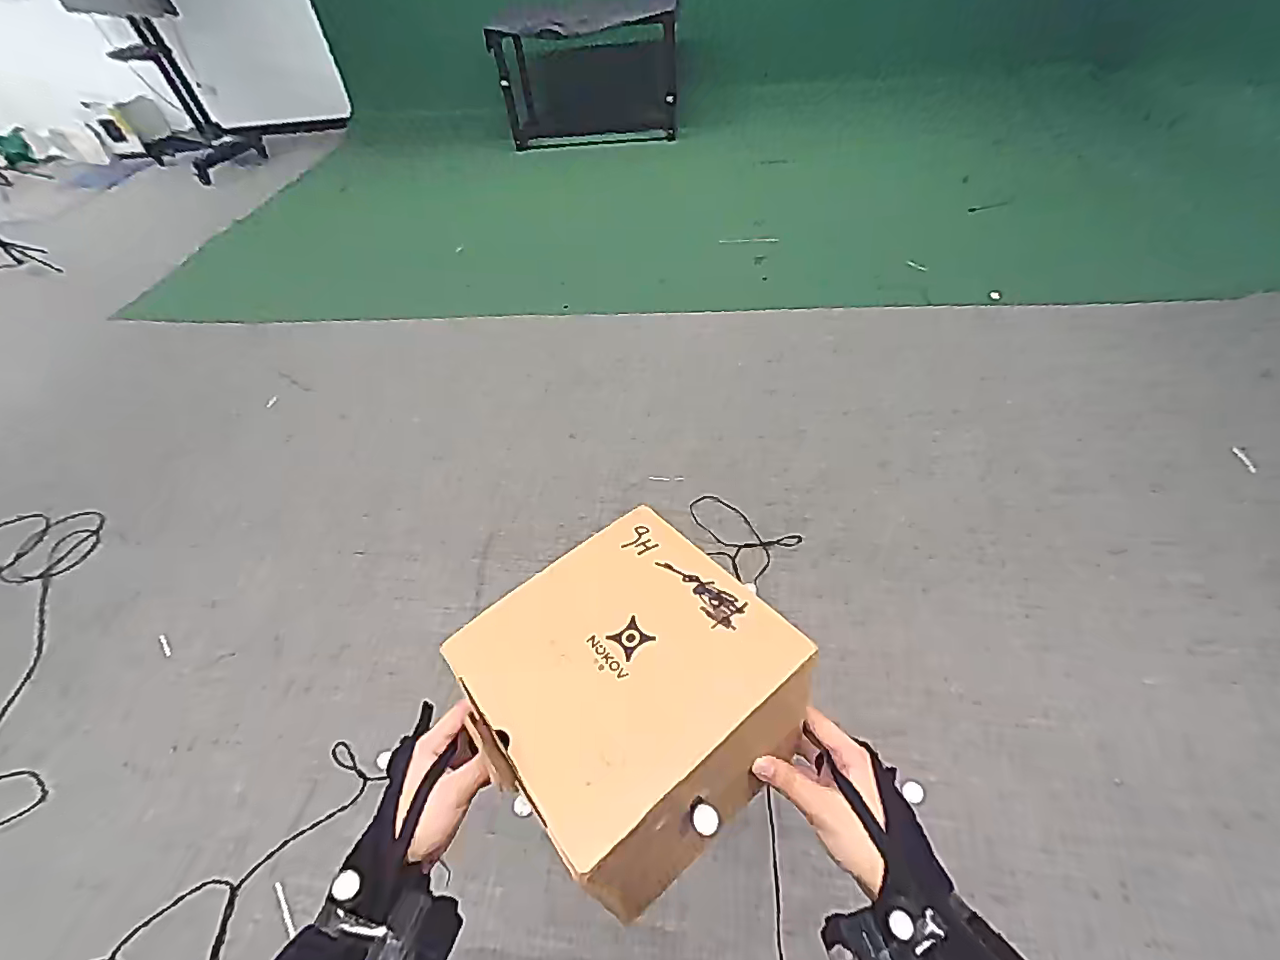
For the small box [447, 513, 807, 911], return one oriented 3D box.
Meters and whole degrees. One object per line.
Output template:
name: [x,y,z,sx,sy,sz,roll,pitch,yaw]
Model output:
small box: [-0.002,0.164,0.393,0.179,0.176,0.168,-34,49,-22]
